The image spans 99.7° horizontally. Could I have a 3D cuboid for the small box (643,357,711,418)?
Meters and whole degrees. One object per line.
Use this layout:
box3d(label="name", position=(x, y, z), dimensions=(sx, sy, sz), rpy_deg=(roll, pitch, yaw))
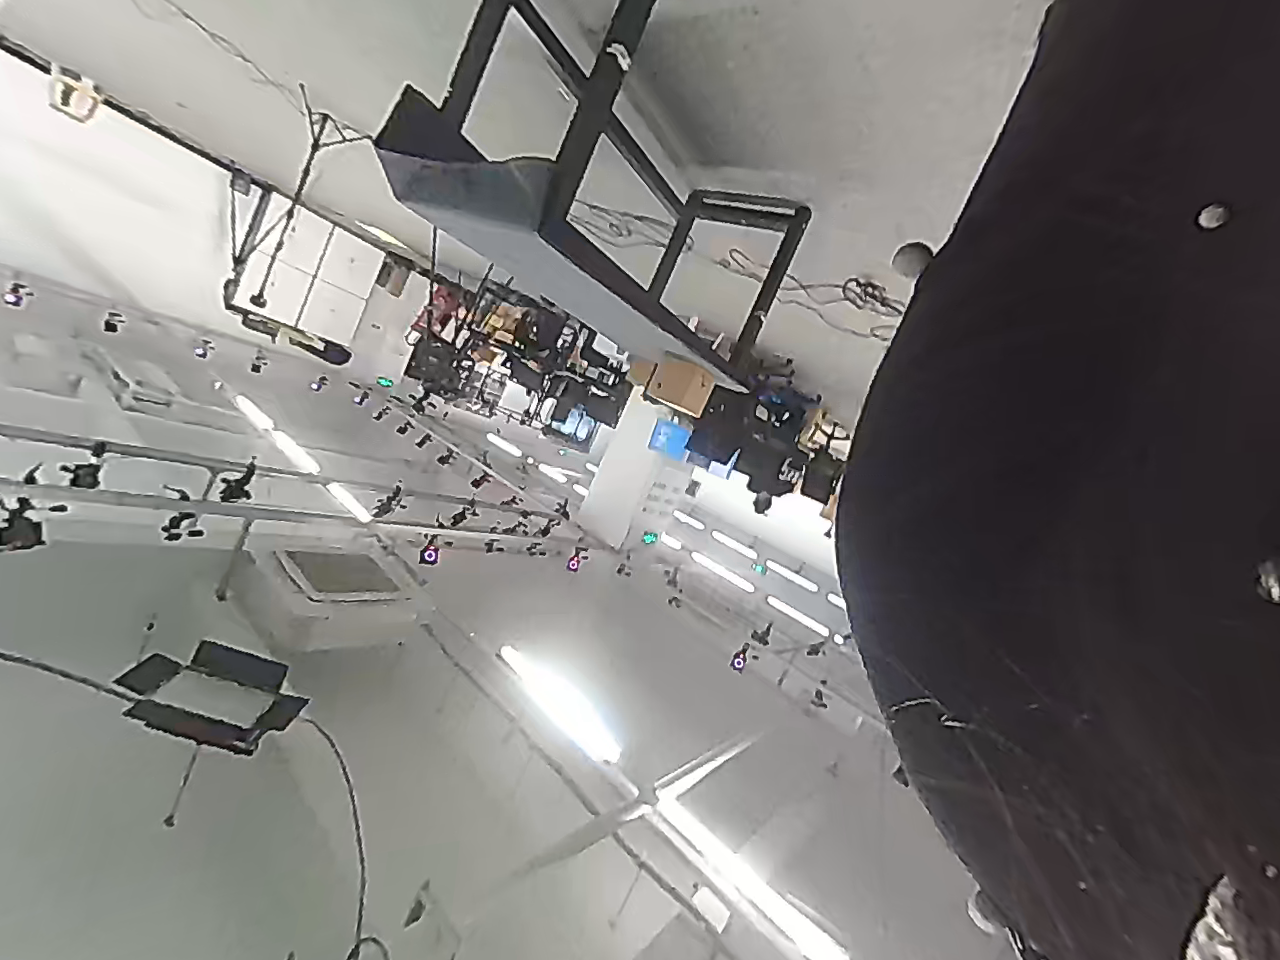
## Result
box3d(label="small box", position=(0.148, -0.365, 2.115), dimensions=(0.179, 0.176, 0.168), rpy_deg=(27, -174, 34))
